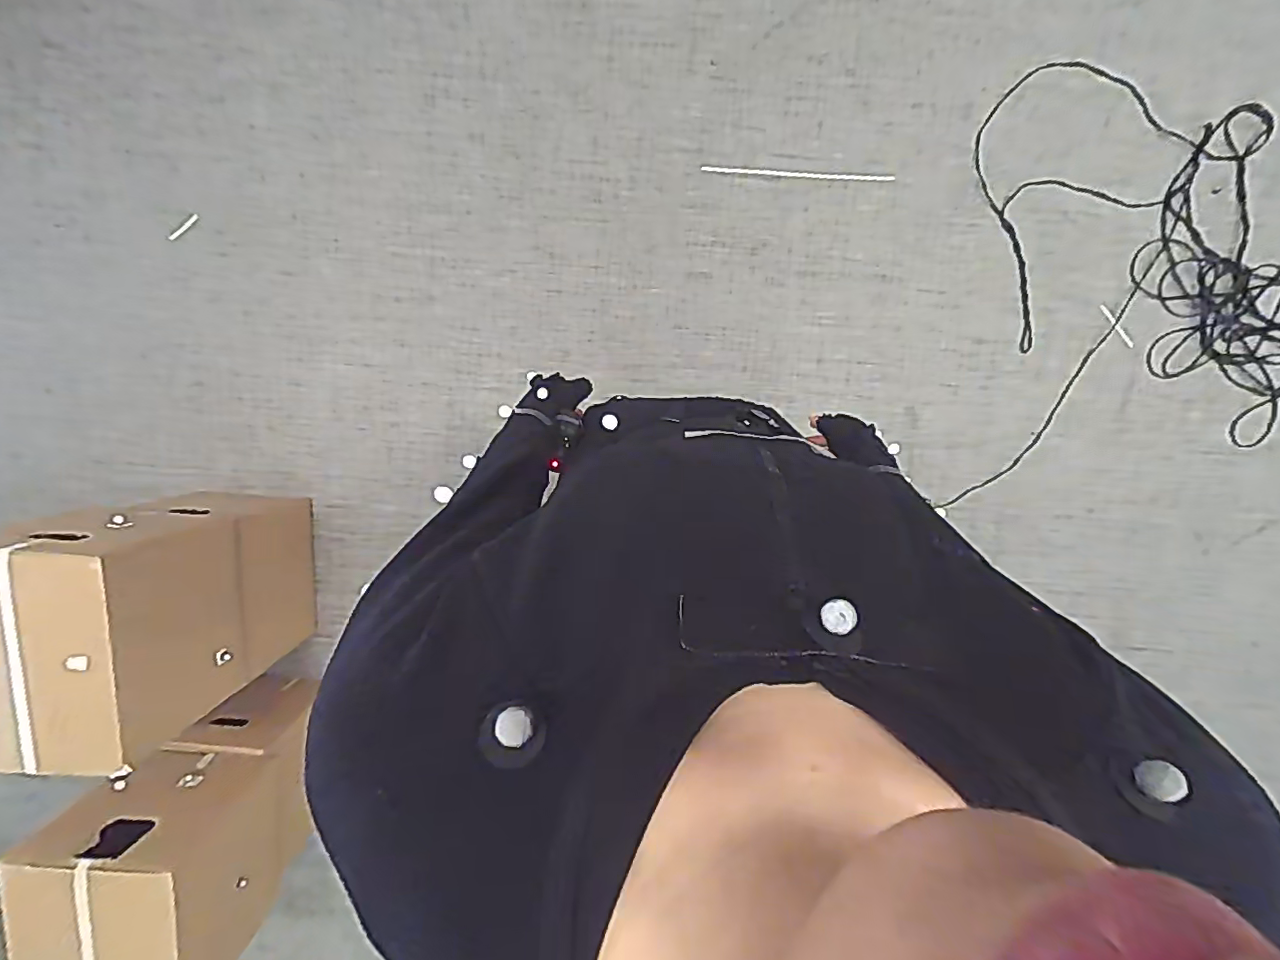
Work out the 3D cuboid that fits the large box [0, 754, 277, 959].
[{"bbox_3d":[-1.025,0.862,1.152,0.320,0.320,0.408,6,101,-3],"label":"large box"}]
